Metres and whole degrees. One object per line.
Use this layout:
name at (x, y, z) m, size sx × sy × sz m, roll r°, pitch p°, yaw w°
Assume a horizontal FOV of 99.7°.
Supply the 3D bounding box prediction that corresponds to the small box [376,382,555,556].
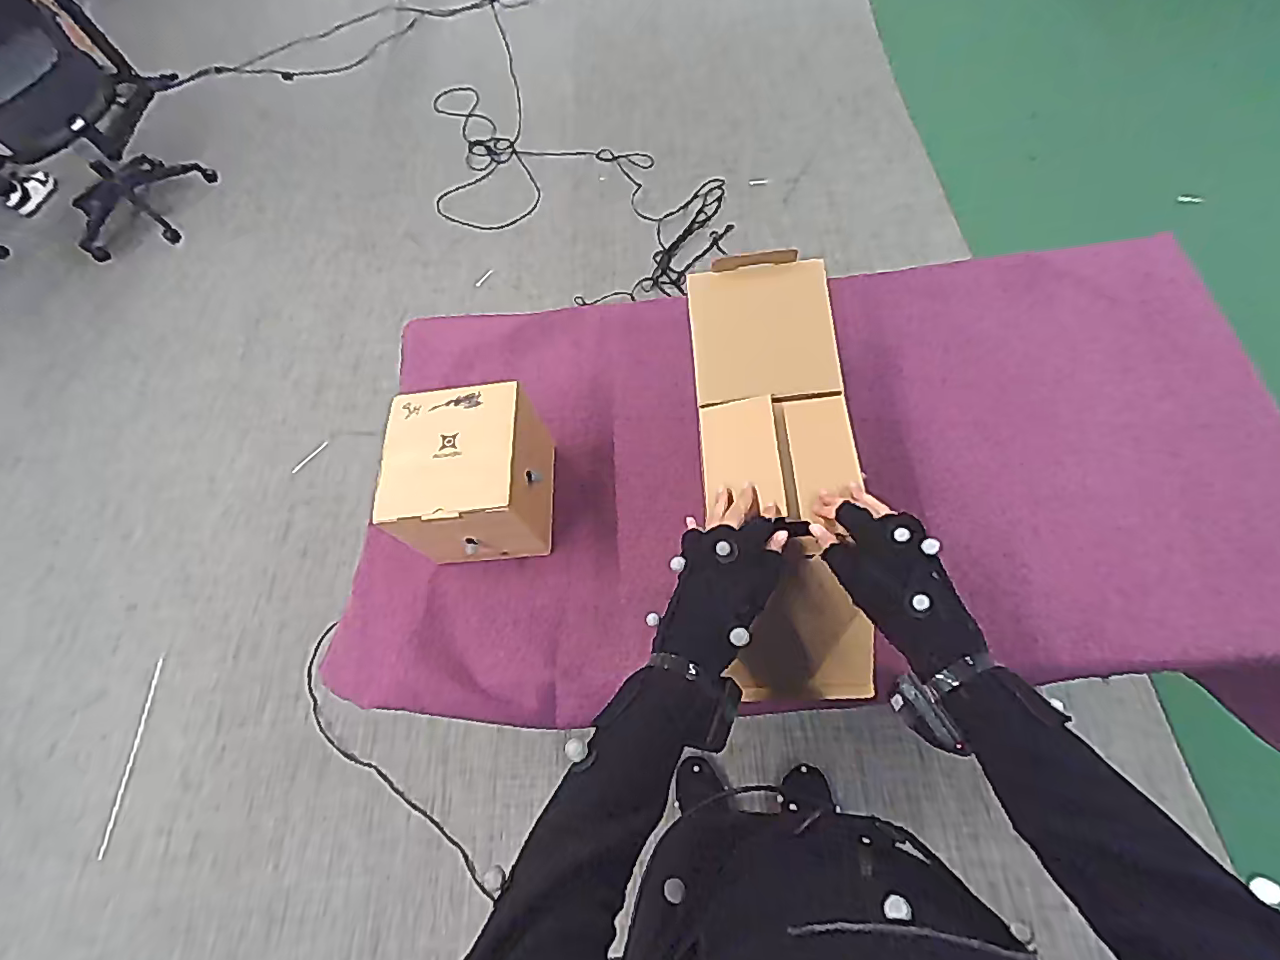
small box at (-0.214, -0.003, 0.715) m, size 0.168 × 0.176 × 0.179 m, roll -6°, pitch 64°, yaw 6°
